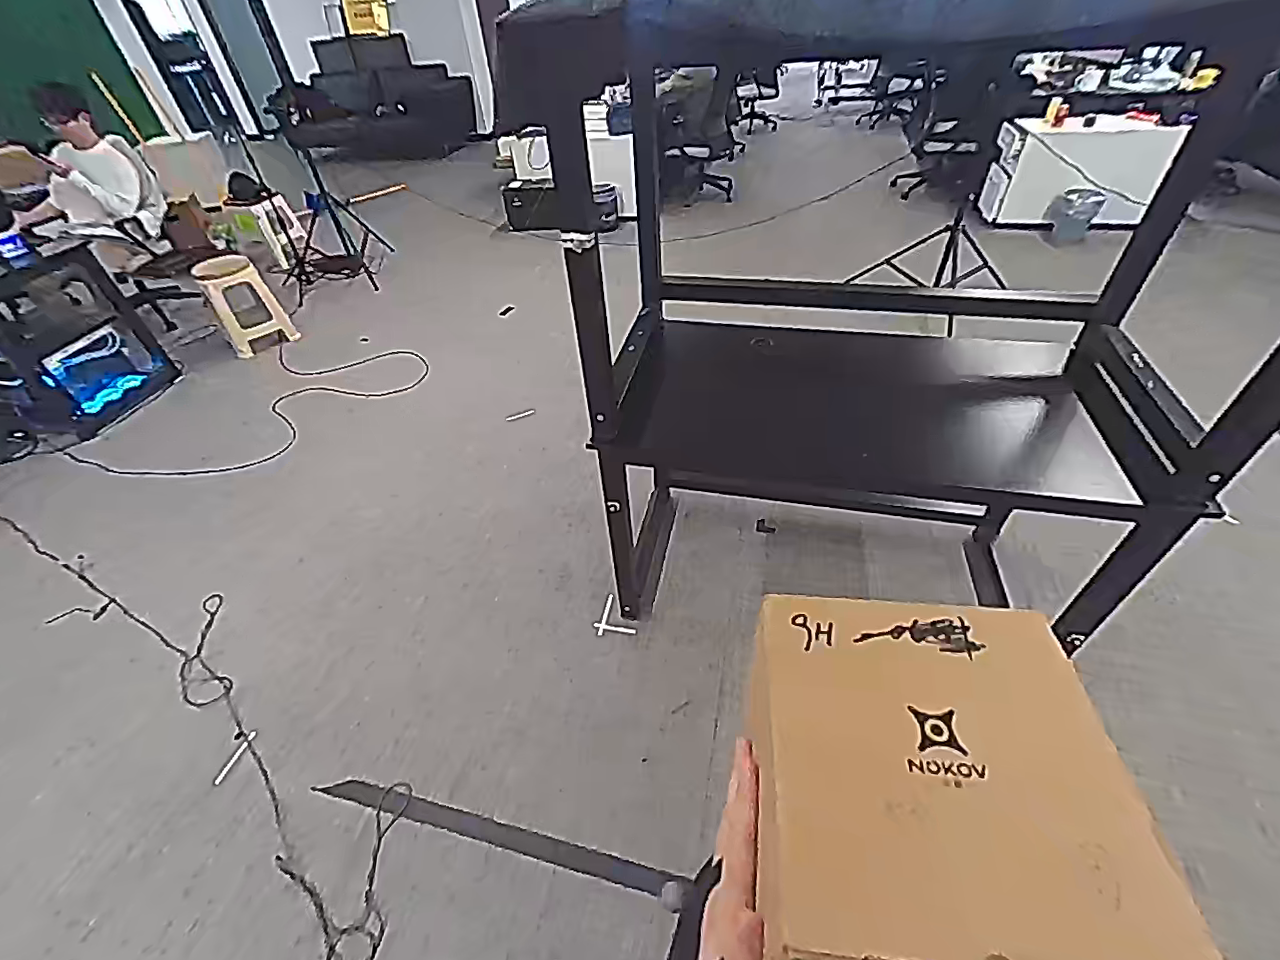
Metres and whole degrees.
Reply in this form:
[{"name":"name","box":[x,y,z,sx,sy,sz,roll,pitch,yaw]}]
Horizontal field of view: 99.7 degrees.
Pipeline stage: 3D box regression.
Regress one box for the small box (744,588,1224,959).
[{"name":"small box","box":[0.153,0.189,0.318,0.168,0.176,0.179,3,43,7]}]
